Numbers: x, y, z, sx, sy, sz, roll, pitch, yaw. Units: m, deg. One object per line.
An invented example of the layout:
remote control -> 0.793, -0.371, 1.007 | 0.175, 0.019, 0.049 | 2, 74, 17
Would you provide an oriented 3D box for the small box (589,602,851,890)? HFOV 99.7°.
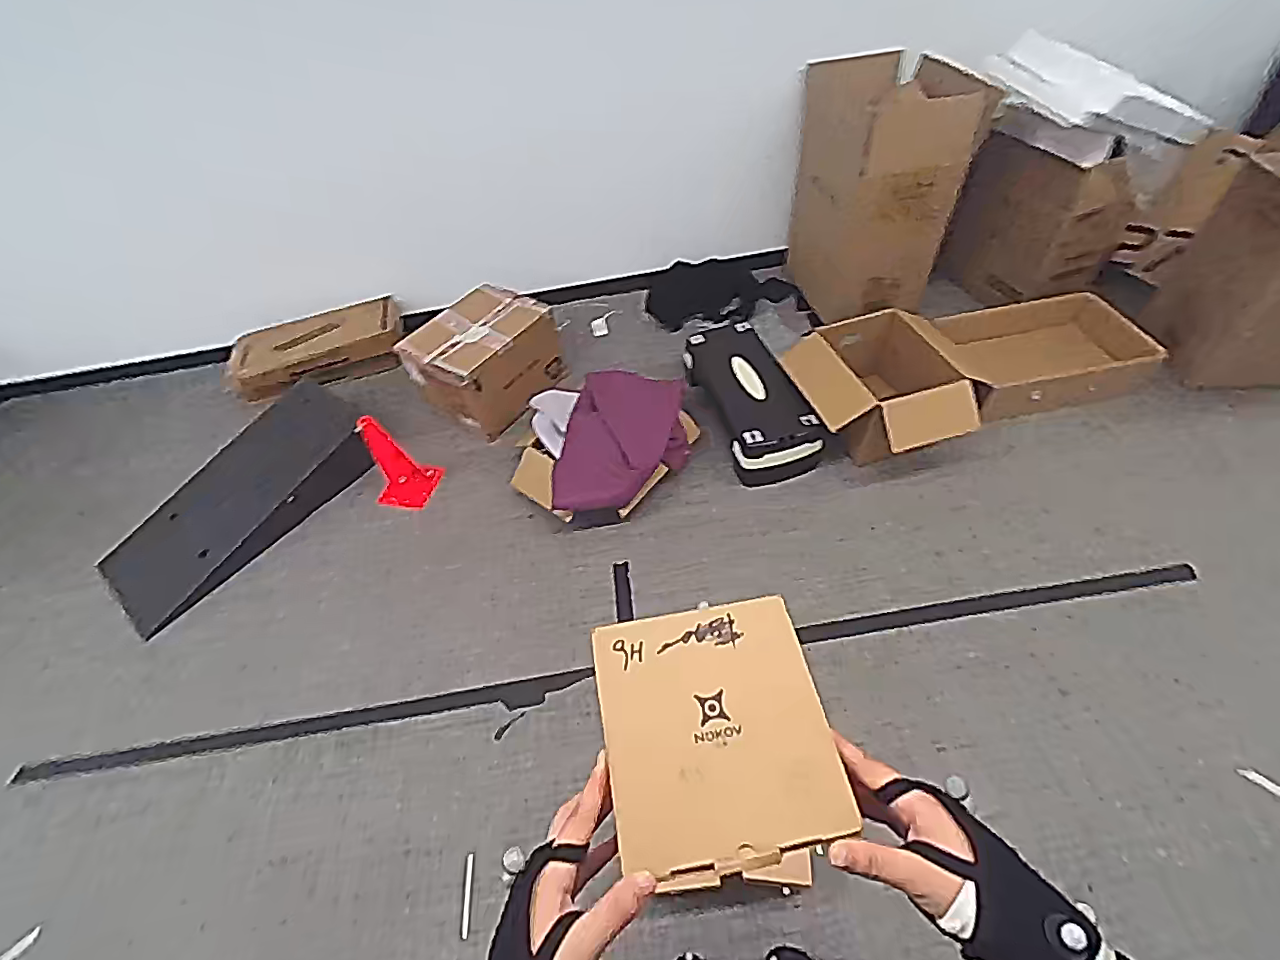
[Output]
small box -> 0.054, 0.231, 0.476 | 0.168, 0.176, 0.179 | -9, 56, -5
